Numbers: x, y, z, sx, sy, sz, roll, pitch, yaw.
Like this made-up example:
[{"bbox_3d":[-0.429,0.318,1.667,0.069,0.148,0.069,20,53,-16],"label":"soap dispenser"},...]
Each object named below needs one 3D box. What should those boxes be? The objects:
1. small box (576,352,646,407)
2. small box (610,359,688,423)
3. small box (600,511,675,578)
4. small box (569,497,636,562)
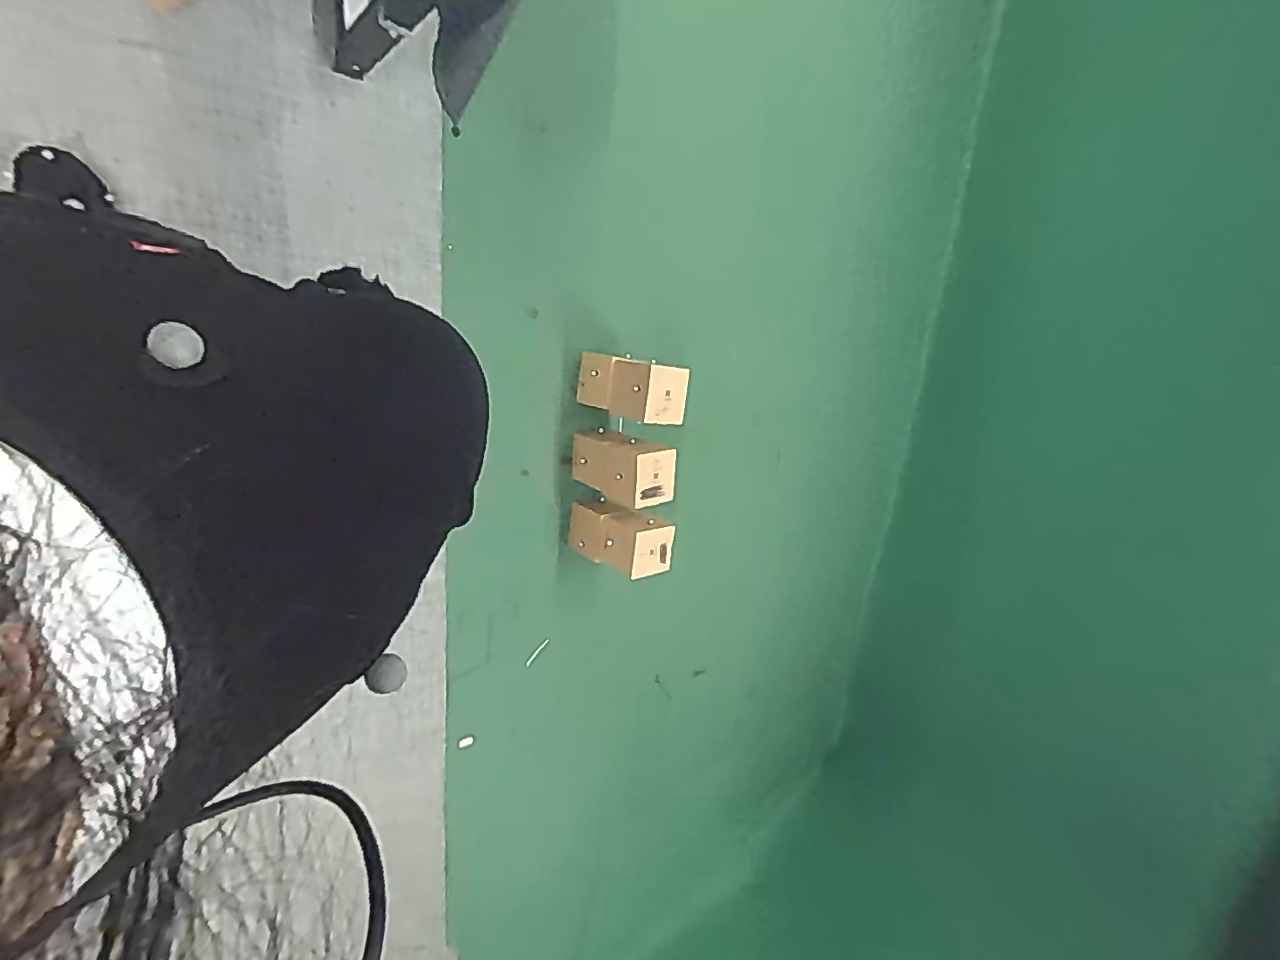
[{"bbox_3d":[-0.090,-0.327,1.787,0.179,0.176,0.168,-2,106,-43],"label":"small box"},{"bbox_3d":[0.025,-0.278,1.679,0.168,0.176,0.179,-3,106,-42],"label":"small box"},{"bbox_3d":[-0.011,0.209,1.821,0.179,0.176,0.168,-6,109,-42],"label":"small box"},{"bbox_3d":[-0.137,0.170,1.921,0.168,0.176,0.179,-4,107,-42],"label":"small box"}]
